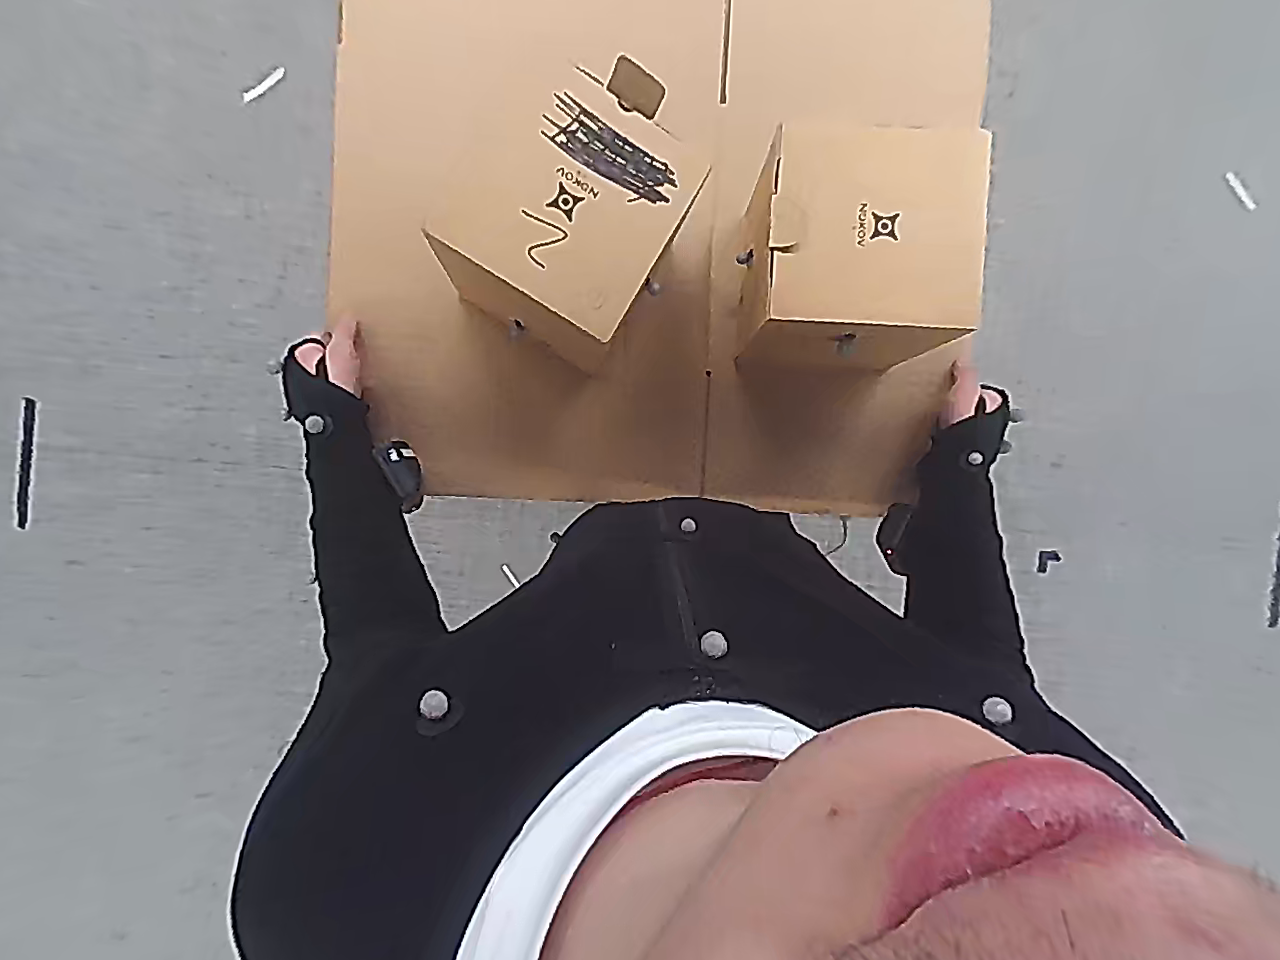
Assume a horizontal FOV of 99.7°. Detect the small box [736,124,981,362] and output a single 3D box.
[{"bbox_3d":[0.200,-0.218,0.540,0.179,0.176,0.168,3,91,1],"label":"small box"}]
